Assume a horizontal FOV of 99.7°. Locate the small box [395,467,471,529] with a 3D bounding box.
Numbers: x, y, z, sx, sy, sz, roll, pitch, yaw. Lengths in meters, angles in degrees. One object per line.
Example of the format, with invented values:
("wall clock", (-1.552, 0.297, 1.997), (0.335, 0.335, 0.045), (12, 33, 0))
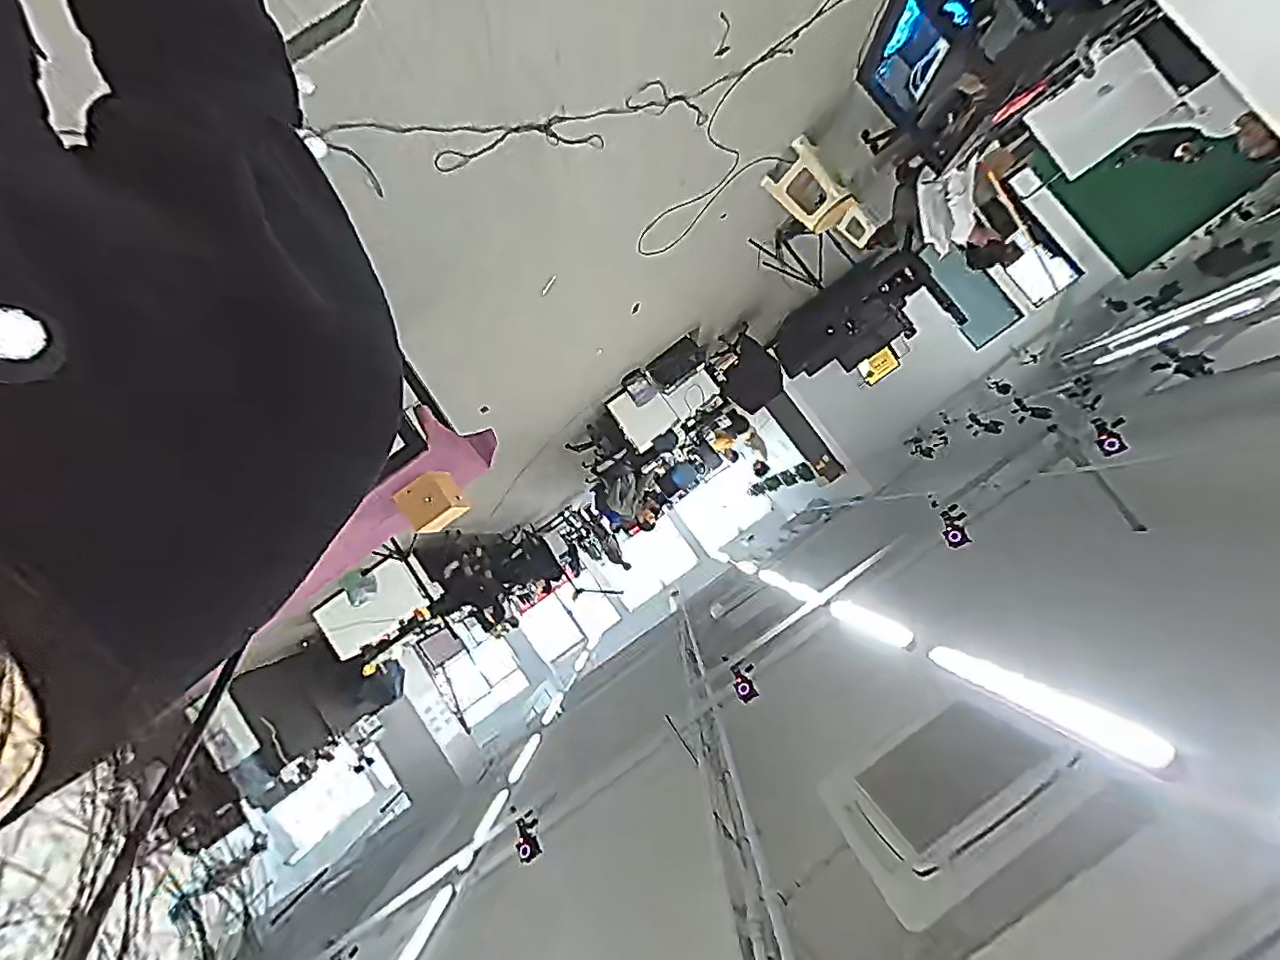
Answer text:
("small box", (-0.768, 0.065, 2.006), (0.168, 0.176, 0.179), (-36, 175, 2))
